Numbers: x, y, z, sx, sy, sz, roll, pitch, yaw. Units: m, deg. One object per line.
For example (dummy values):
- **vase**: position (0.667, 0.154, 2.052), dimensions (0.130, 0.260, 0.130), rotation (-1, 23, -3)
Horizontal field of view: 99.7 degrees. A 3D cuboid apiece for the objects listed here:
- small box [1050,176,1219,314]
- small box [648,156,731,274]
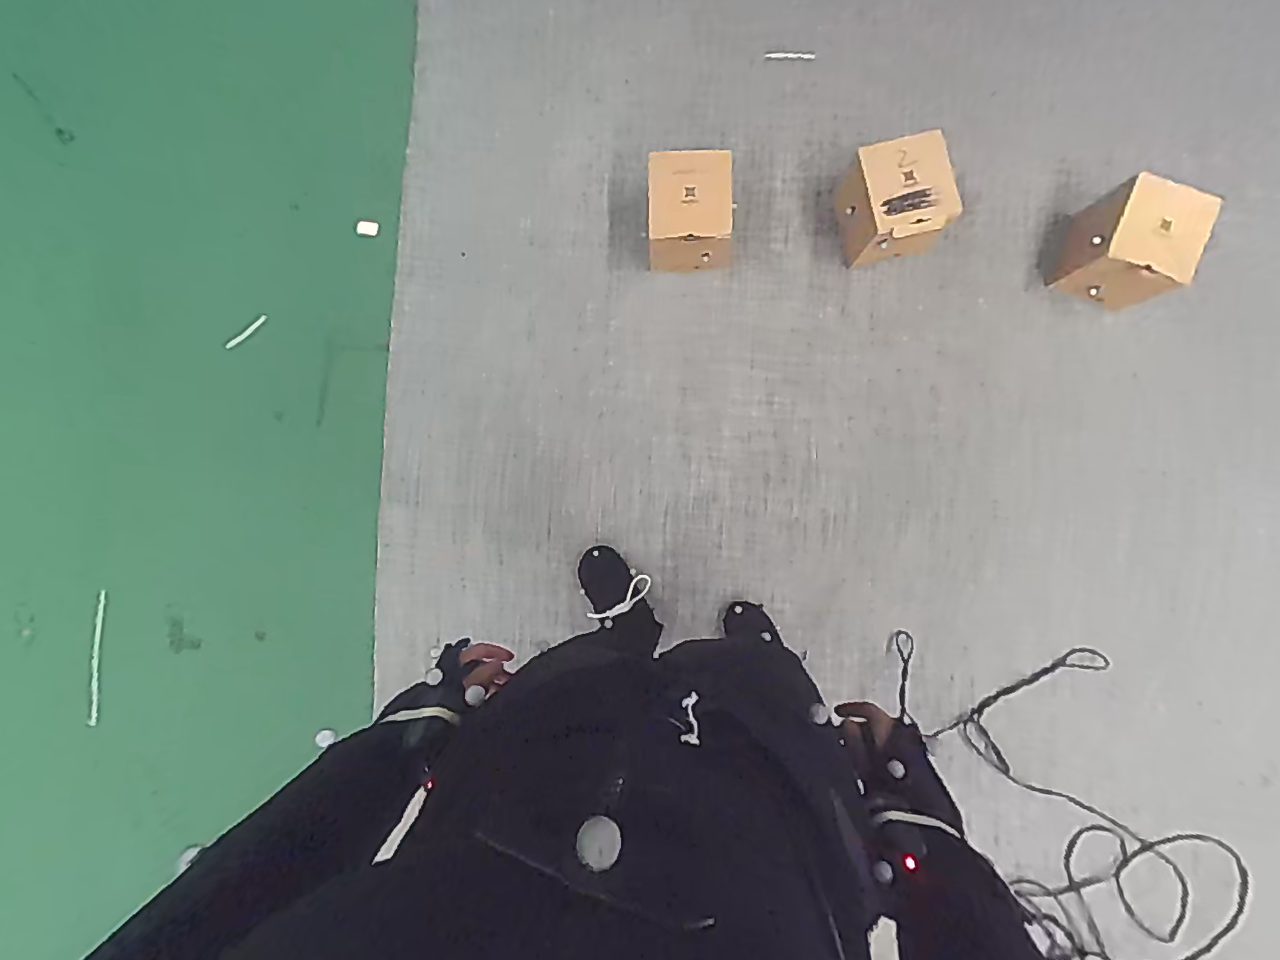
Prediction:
- **small box**: position (0.994, -0.468, 1.104), dimensions (0.168, 0.176, 0.179), rotation (22, 90, 2)
- **small box**: position (0.101, -0.548, 1.142), dimensions (0.168, 0.176, 0.179), rotation (-1, 87, 1)
